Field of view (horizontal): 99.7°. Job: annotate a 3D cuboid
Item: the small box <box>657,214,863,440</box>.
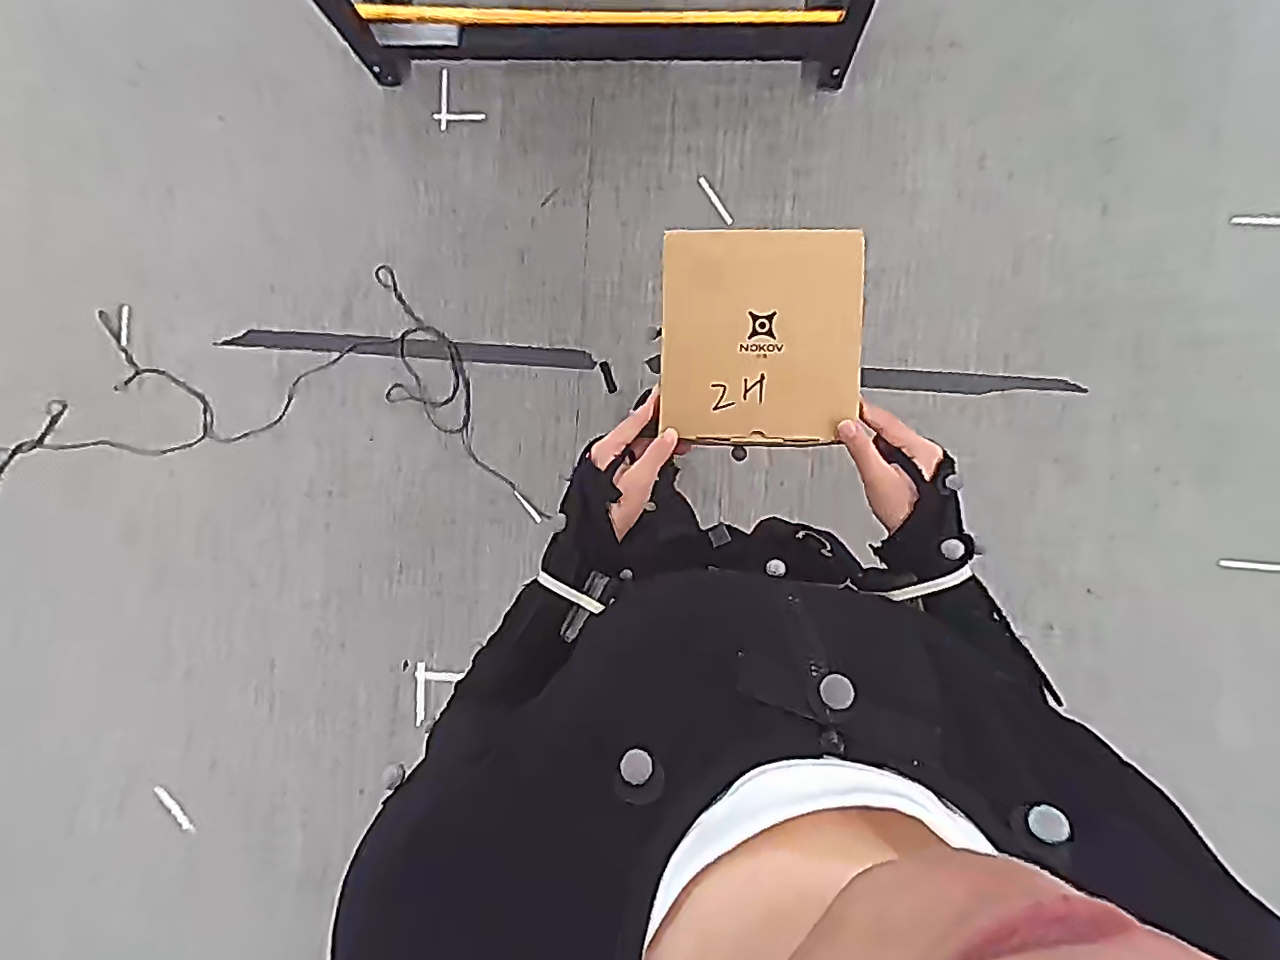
[{"bbox_3d":[0.102,-0.133,0.525,0.168,0.176,0.179,2,92,4],"label":"small box"}]
